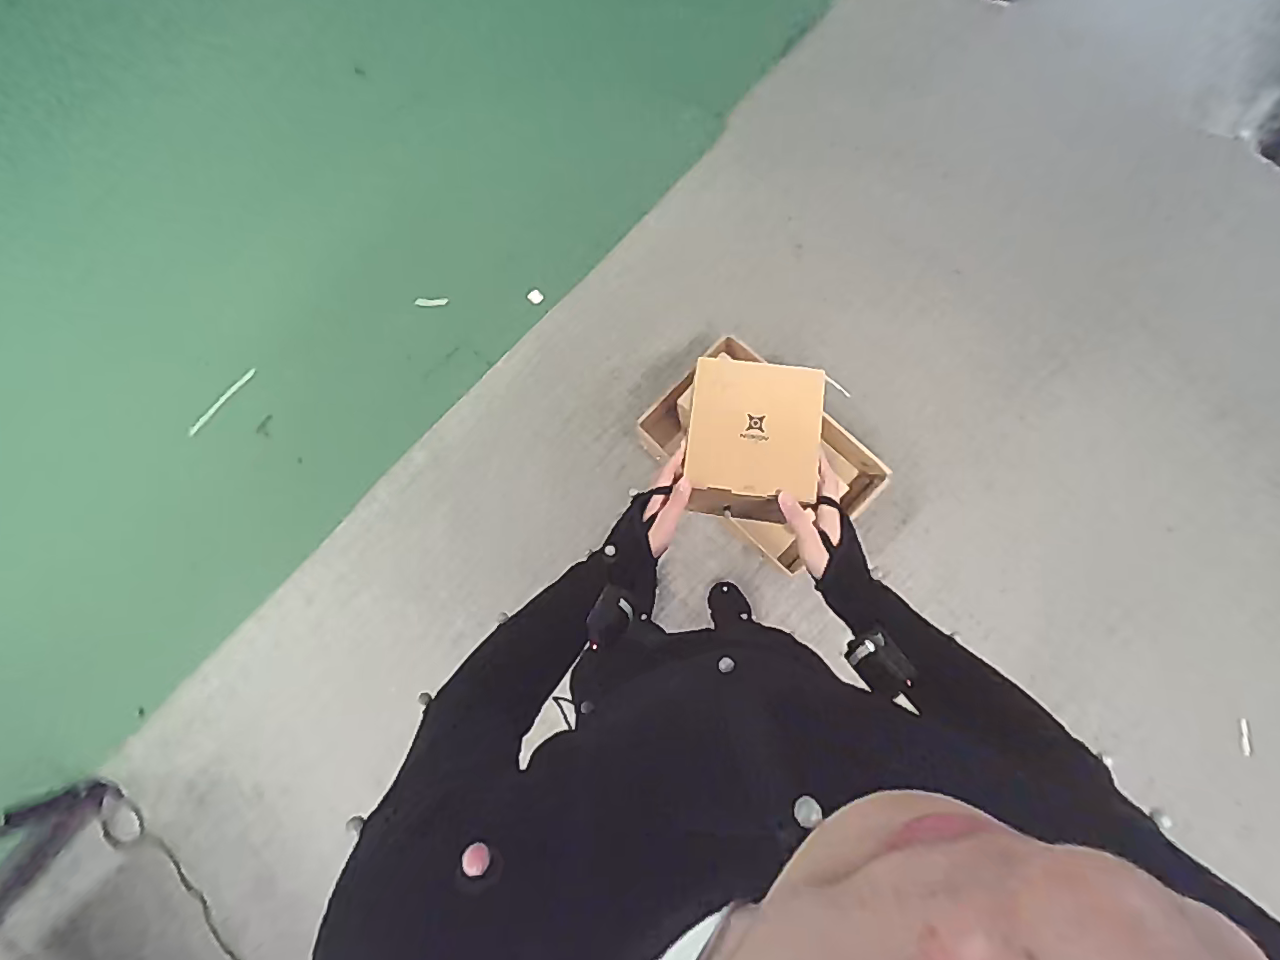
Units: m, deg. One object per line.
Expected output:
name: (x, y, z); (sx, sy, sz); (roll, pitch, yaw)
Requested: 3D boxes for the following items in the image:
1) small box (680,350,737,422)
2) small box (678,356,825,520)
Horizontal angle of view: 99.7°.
small box: (0.216, -0.198, 1.409); (0.168, 0.176, 0.179); (43, 86, 10)
small box: (0.144, -0.049, 0.750); (0.168, 0.176, 0.179); (7, 79, 3)
